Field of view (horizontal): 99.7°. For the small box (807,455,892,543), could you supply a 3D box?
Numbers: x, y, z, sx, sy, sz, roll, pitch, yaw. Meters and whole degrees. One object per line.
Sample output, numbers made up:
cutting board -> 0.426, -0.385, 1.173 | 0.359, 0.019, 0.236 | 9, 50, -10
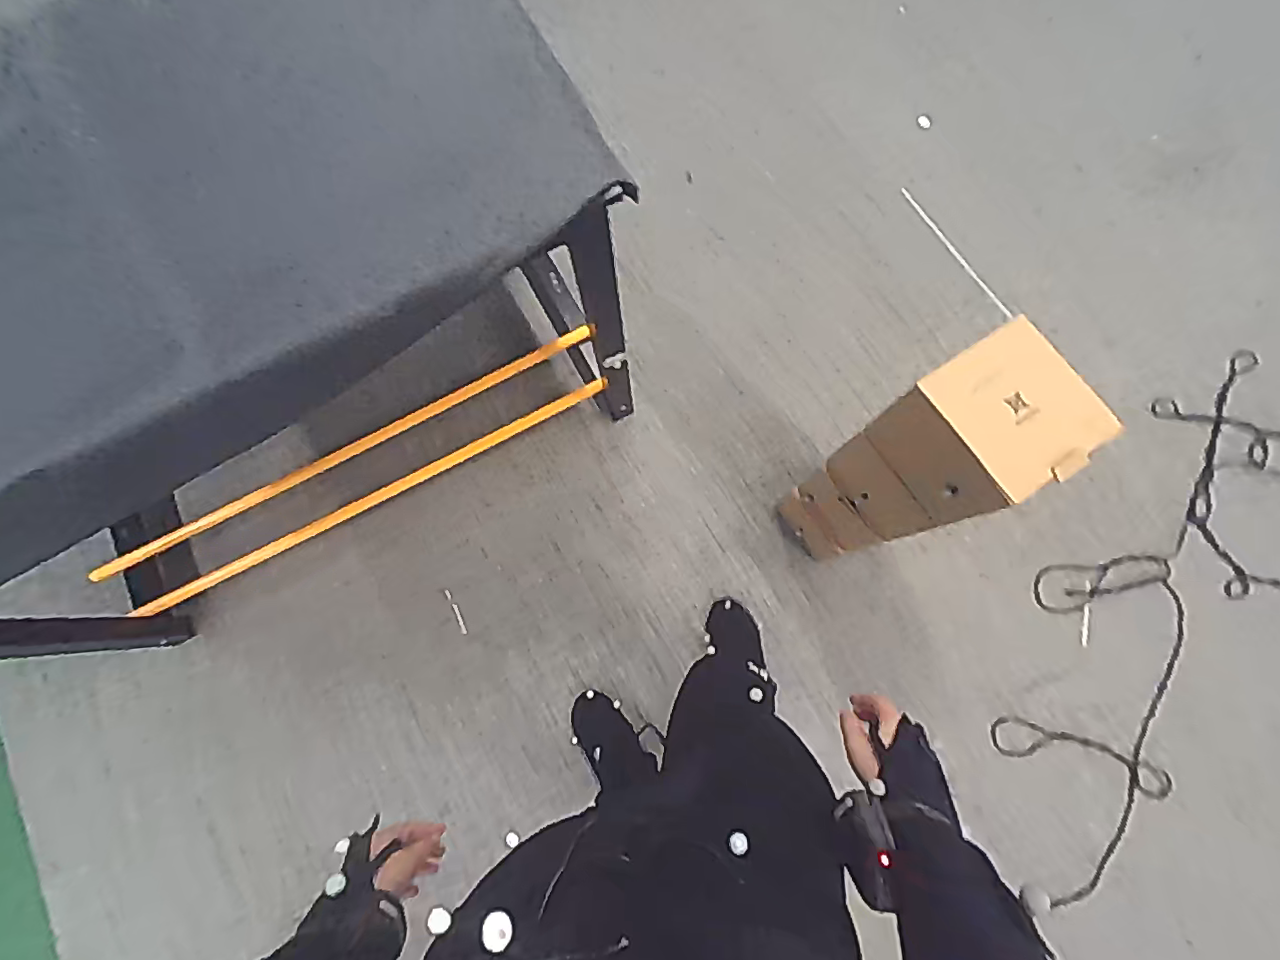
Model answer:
small box -> 0.435, 0.002, 1.013 | 0.179, 0.176, 0.168 | -33, 79, -7

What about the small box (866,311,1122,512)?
small box -> 0.433, -0.073, 0.695 | 0.168, 0.176, 0.179 | -33, 78, -6

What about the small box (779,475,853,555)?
small box -> 0.430, 0.044, 1.172 | 0.179, 0.176, 0.168 | -34, 78, -5

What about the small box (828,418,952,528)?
small box -> 0.434, -0.037, 0.854 | 0.168, 0.176, 0.179 | -33, 79, -6
